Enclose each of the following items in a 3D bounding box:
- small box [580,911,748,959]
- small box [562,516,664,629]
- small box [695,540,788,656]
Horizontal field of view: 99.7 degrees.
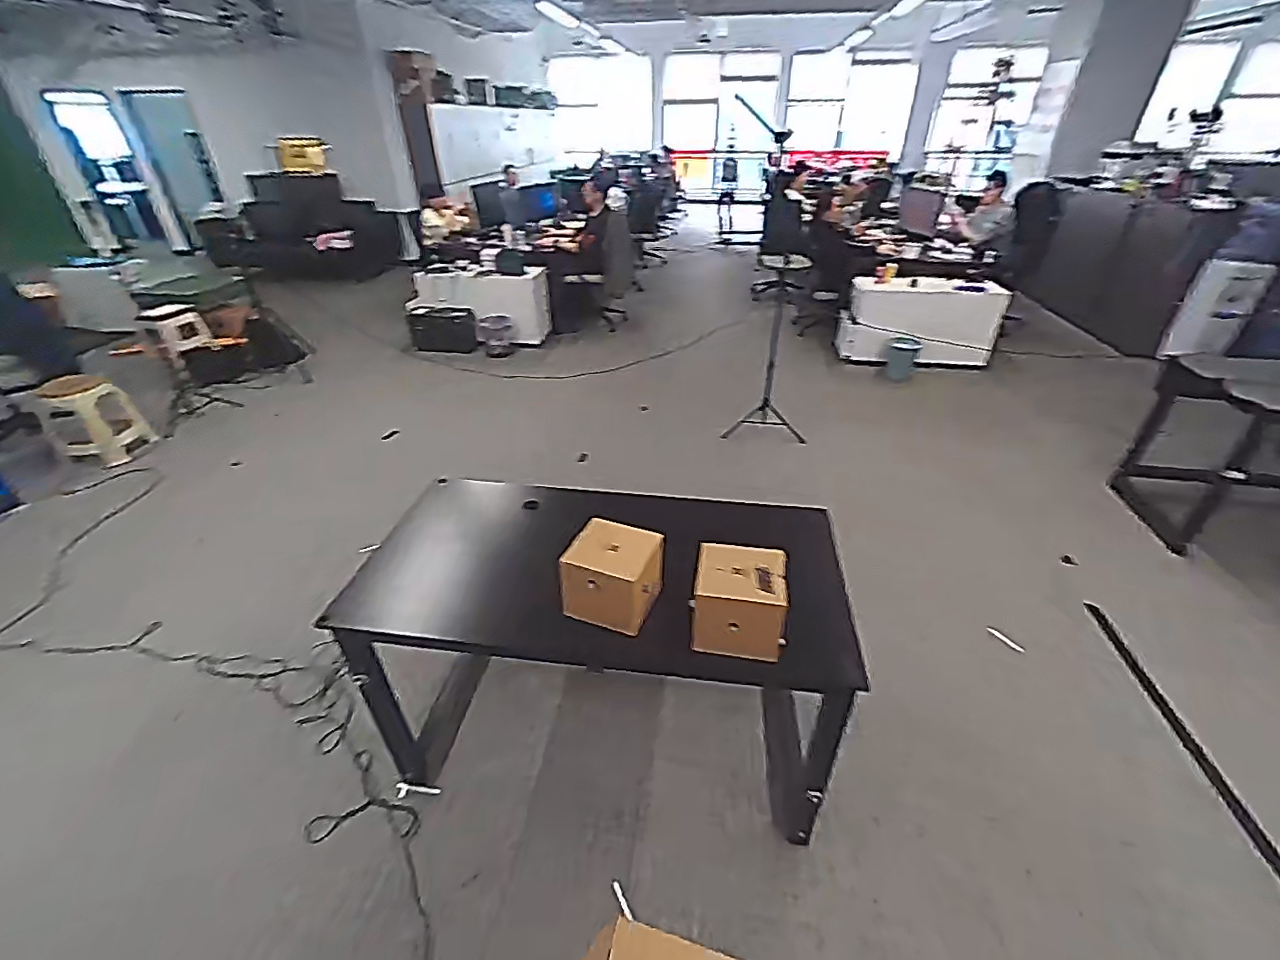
[{"bbox_3d":[0.016,0.581,0.544,0.179,0.176,0.168,19,37,1],"label":"small box"},{"bbox_3d":[-0.055,0.211,1.222,0.179,0.176,0.168,11,35,19],"label":"small box"},{"bbox_3d":[0.214,0.250,1.150,0.179,0.176,0.168,4,33,10],"label":"small box"}]
